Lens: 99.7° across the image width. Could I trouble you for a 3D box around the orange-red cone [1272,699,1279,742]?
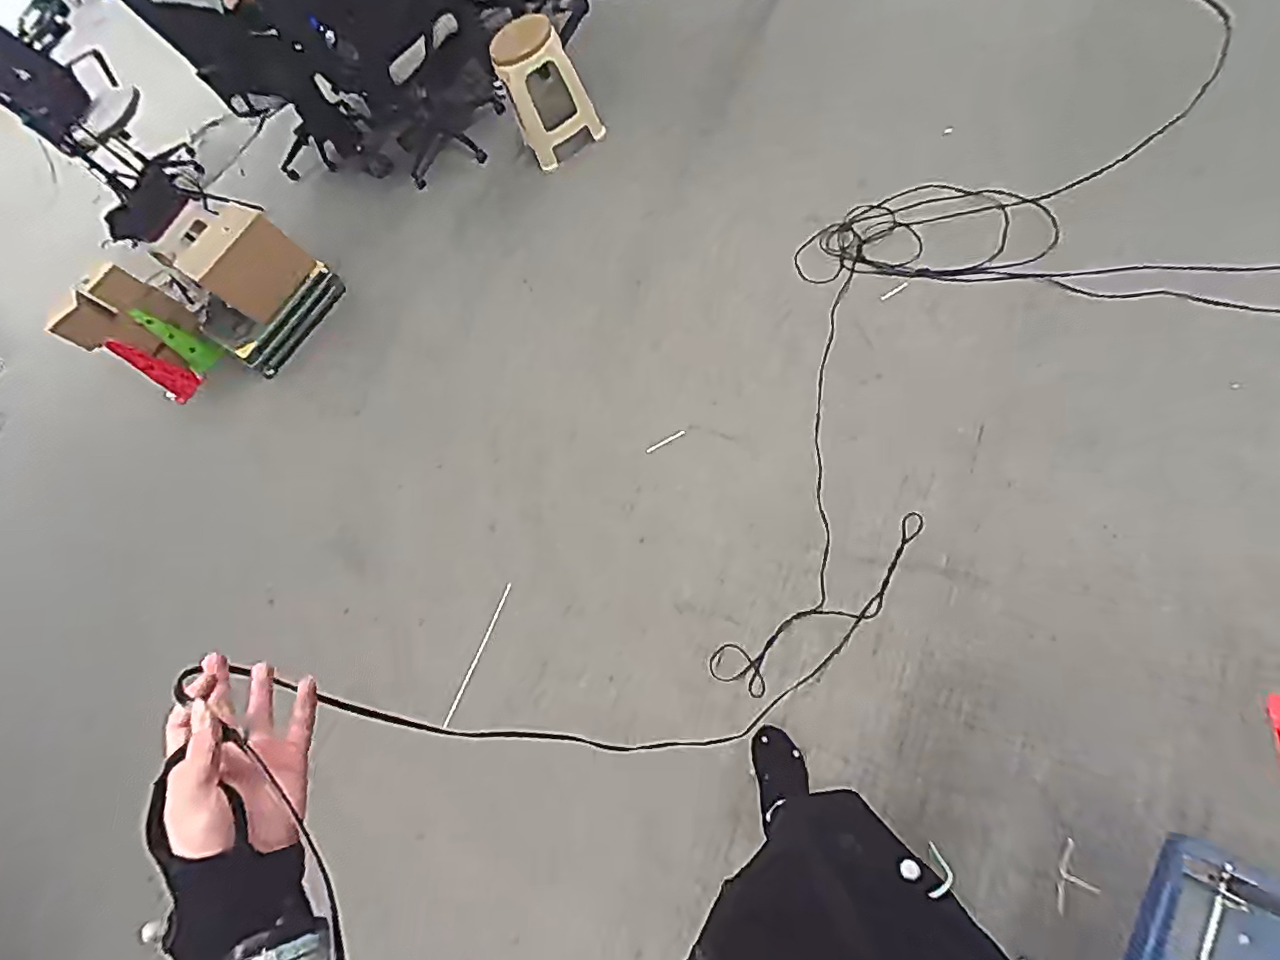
[{"bbox_3d":[1.313,0.465,0.891,0.198,0.360,0.199,2,66,19],"label":"orange-red cone"}]
